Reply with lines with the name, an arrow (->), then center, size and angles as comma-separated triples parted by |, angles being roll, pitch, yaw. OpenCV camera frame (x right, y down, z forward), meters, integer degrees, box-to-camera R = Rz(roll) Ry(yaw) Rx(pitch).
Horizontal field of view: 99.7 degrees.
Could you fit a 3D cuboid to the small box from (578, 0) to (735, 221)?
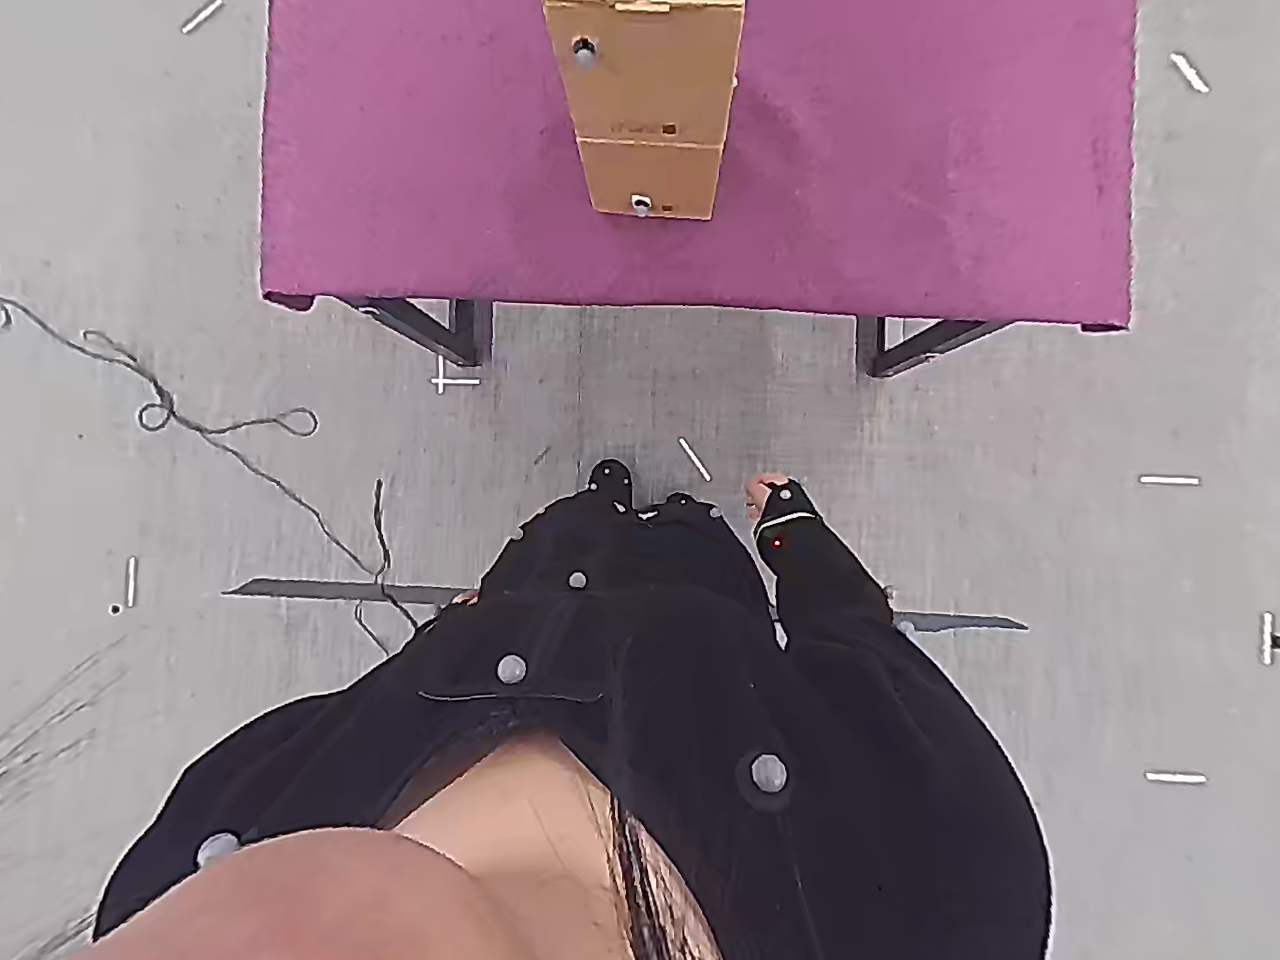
small box -> 0.020, -0.457, 0.680 | 0.168, 0.176, 0.179 | 4, 90, 2
